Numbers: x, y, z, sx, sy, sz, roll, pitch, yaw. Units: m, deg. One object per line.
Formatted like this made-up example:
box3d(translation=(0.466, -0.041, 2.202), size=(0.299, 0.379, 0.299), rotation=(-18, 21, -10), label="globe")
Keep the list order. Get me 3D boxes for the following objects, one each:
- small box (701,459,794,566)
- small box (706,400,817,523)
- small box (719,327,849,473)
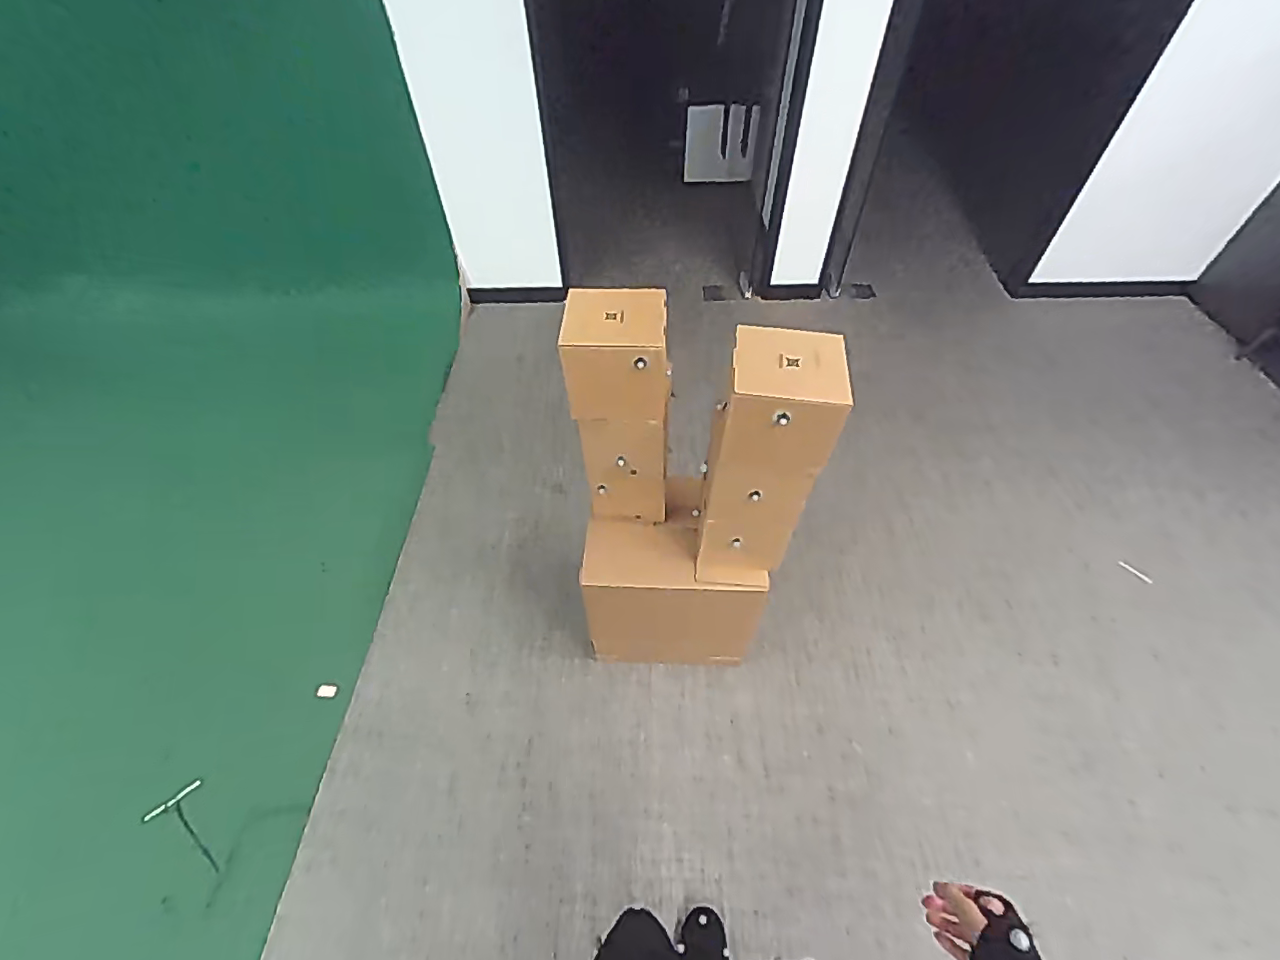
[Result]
box3d(translation=(0.221, 0.072, 1.153), size=(0.179, 0.176, 0.168), rotation=(2, 54, 4), label="small box")
box3d(translation=(0.222, -0.031, 1.026), size=(0.179, 0.176, 0.168), rotation=(3, 52, 4), label="small box")
box3d(translation=(0.229, -0.129, 0.896), size=(0.179, 0.176, 0.168), rotation=(7, 53, 5), label="small box")
